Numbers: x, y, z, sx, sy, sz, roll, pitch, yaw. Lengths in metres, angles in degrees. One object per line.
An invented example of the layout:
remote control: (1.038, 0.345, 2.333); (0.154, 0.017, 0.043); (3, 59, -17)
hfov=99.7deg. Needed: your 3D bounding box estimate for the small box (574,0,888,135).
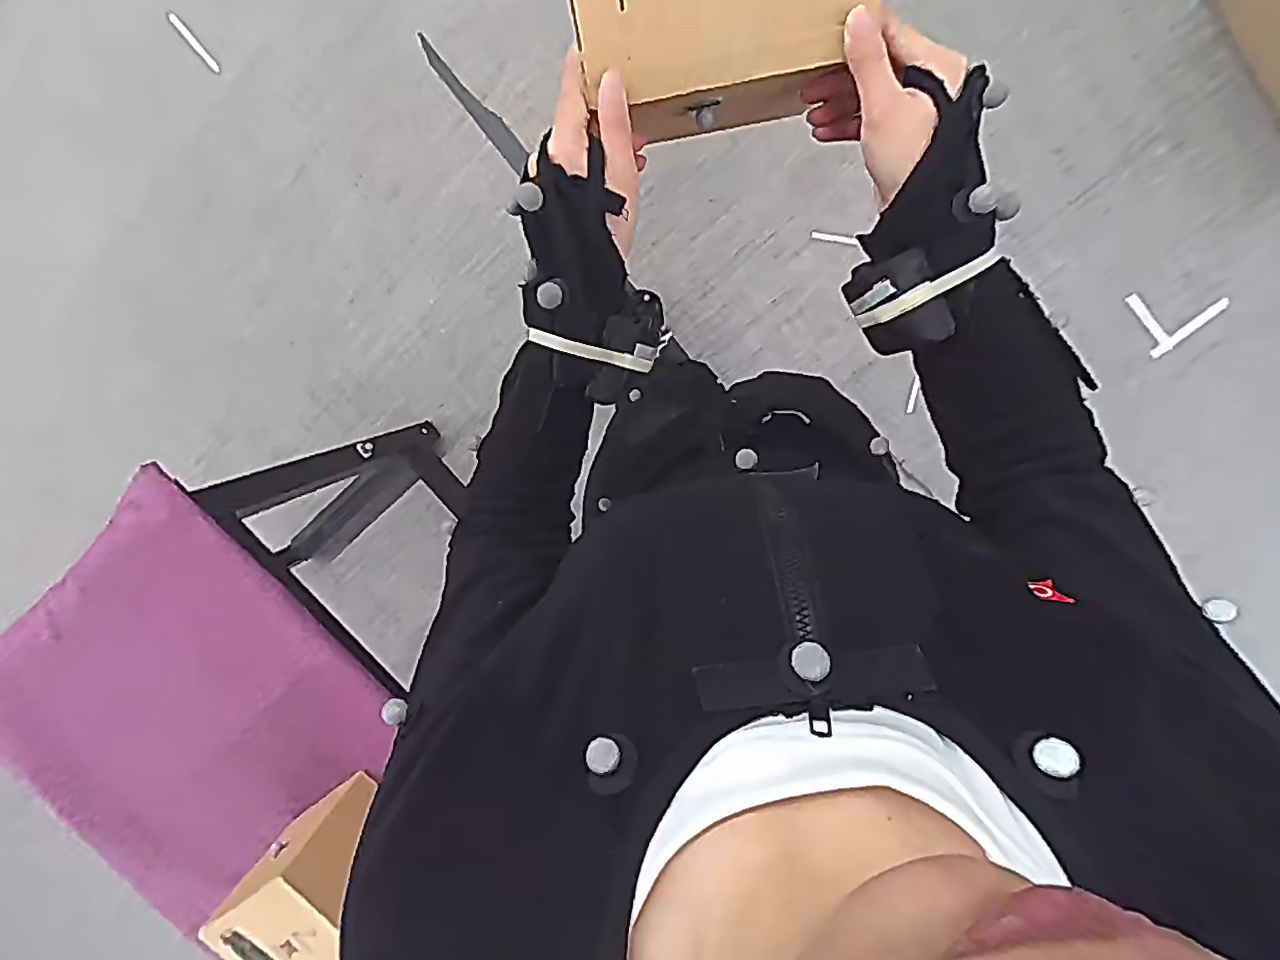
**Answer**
small box: (0.044, -0.347, 0.357); (0.179, 0.176, 0.168); (-9, 114, 3)
